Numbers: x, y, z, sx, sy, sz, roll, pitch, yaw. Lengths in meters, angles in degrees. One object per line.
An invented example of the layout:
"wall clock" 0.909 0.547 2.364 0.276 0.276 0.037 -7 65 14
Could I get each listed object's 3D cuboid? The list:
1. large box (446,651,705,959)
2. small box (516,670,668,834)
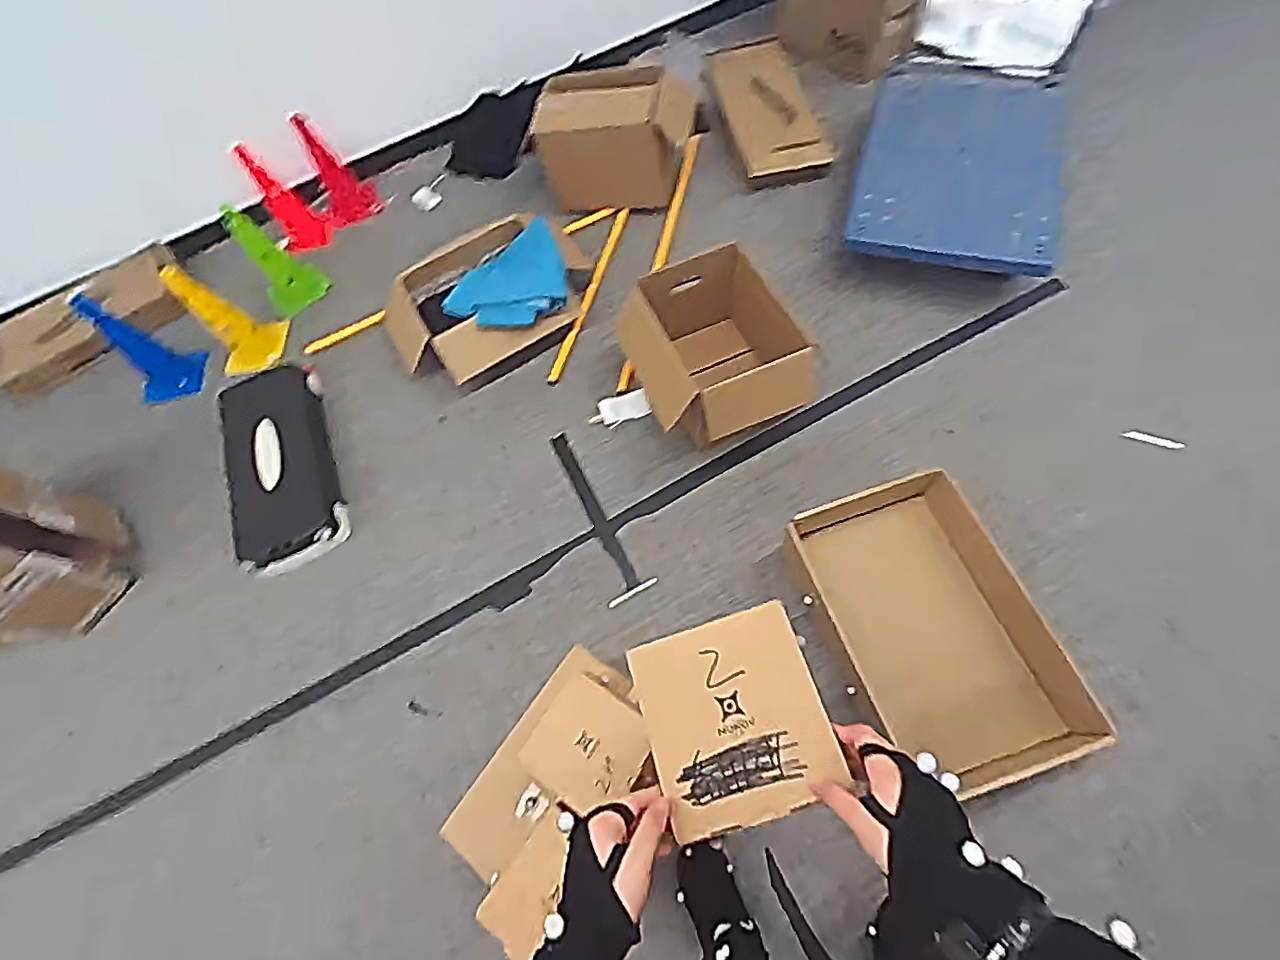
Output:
"large box" -0.096 0.618 1.098 0.320 0.320 0.408 30 73 20
"small box" -0.070 0.445 0.902 0.179 0.176 0.168 29 73 18
